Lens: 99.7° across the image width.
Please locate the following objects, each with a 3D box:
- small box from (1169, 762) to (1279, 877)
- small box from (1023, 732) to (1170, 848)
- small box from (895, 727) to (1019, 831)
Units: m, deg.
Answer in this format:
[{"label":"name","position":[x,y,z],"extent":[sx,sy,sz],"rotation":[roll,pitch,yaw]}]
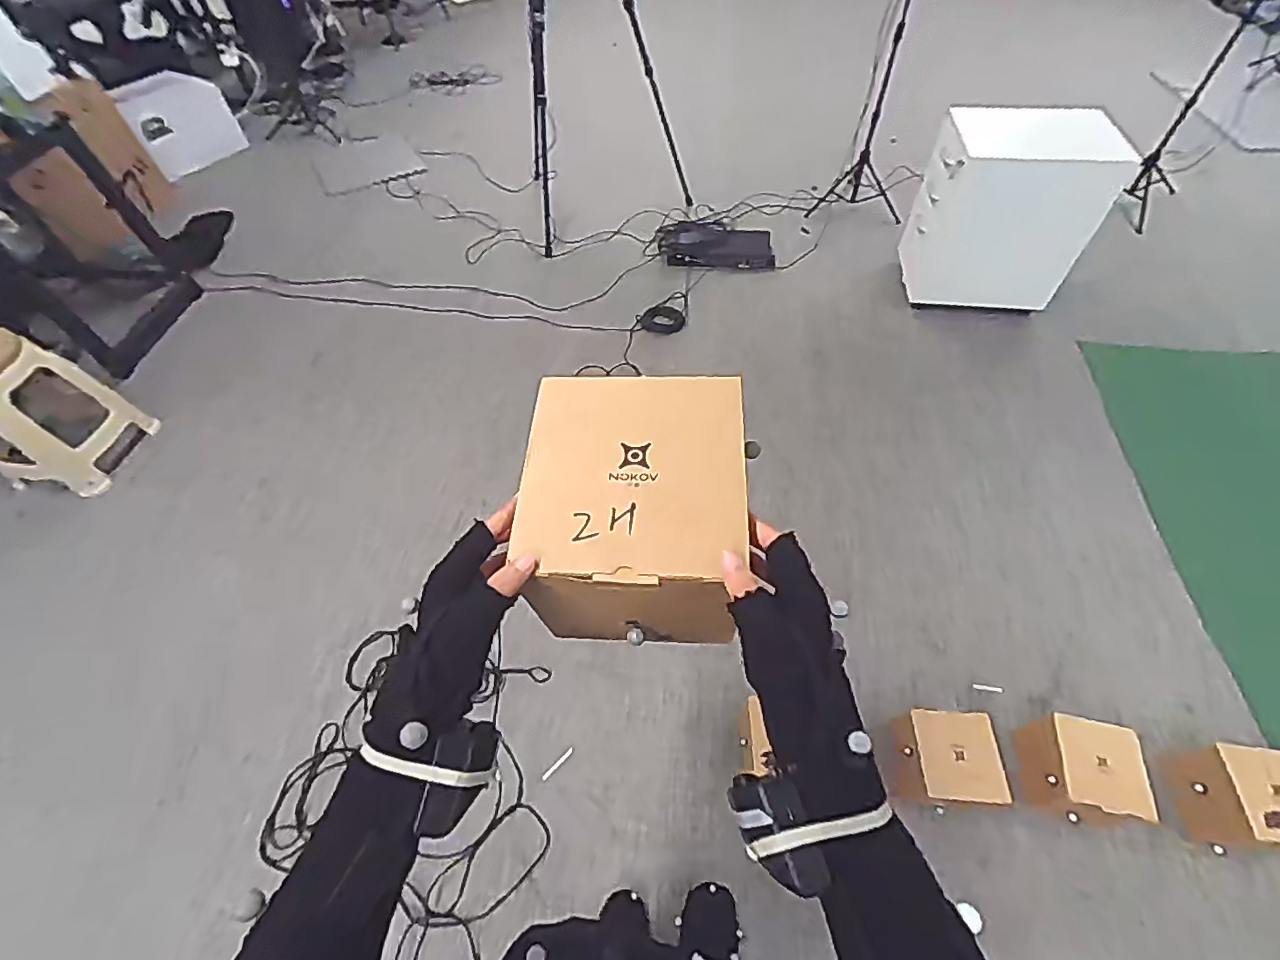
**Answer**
[{"label":"small box","position":[1.281,0.710,1.126],"extent":[0.168,0.176,0.179],"rotation":[5,52,7]},{"label":"small box","position":[0.968,0.672,1.170],"extent":[0.168,0.176,0.179],"rotation":[9,54,10]},{"label":"small box","position":[0.684,0.661,1.192],"extent":[0.168,0.176,0.179],"rotation":[1,54,5]}]
